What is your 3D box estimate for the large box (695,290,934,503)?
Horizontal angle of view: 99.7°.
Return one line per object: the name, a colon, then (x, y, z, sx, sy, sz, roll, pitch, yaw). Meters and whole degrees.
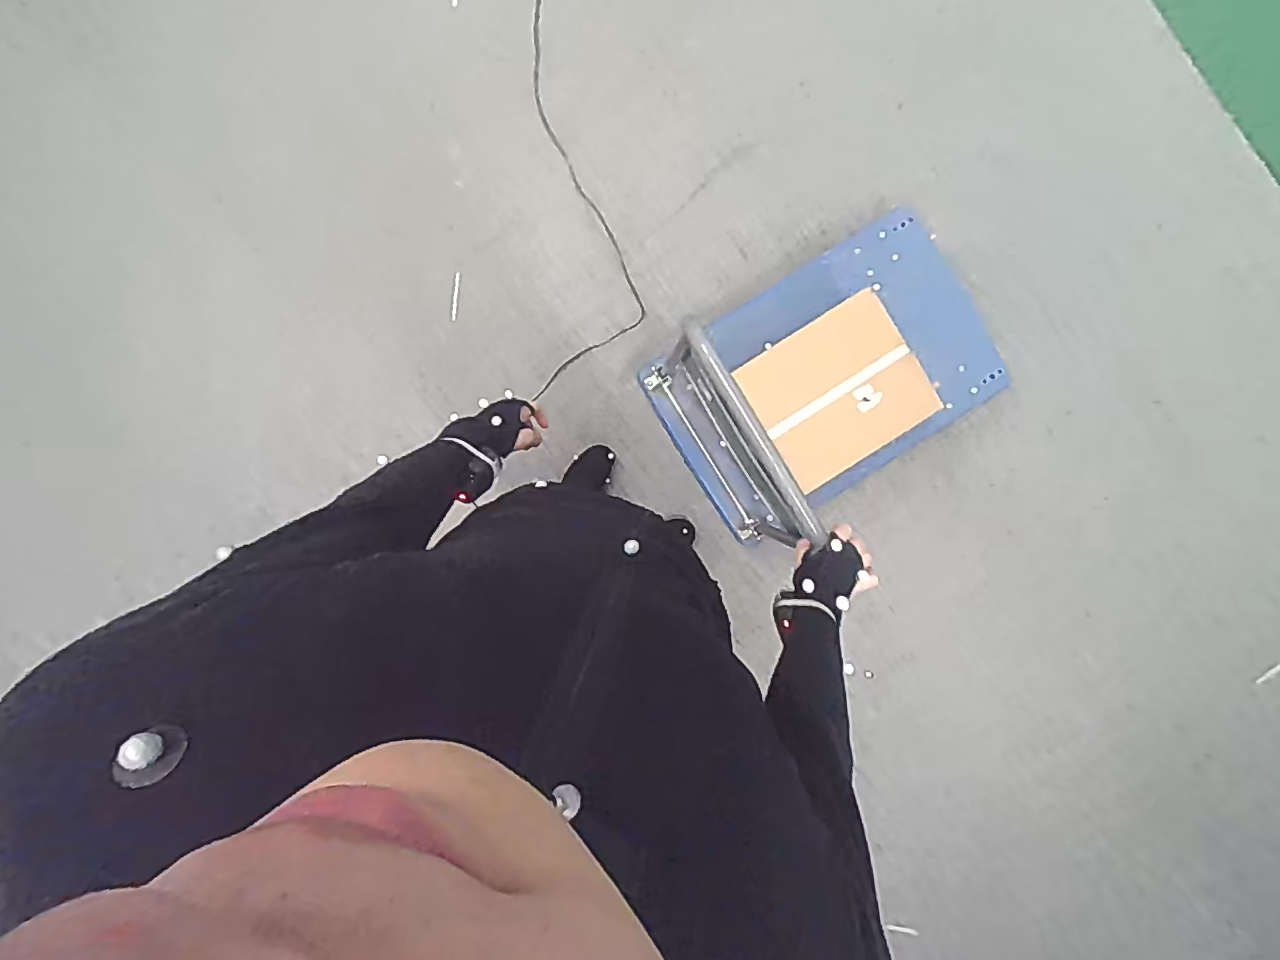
large box: (0.396, -0.182, 1.322, 0.408, 0.320, 0.320, -32, 93, -1)
